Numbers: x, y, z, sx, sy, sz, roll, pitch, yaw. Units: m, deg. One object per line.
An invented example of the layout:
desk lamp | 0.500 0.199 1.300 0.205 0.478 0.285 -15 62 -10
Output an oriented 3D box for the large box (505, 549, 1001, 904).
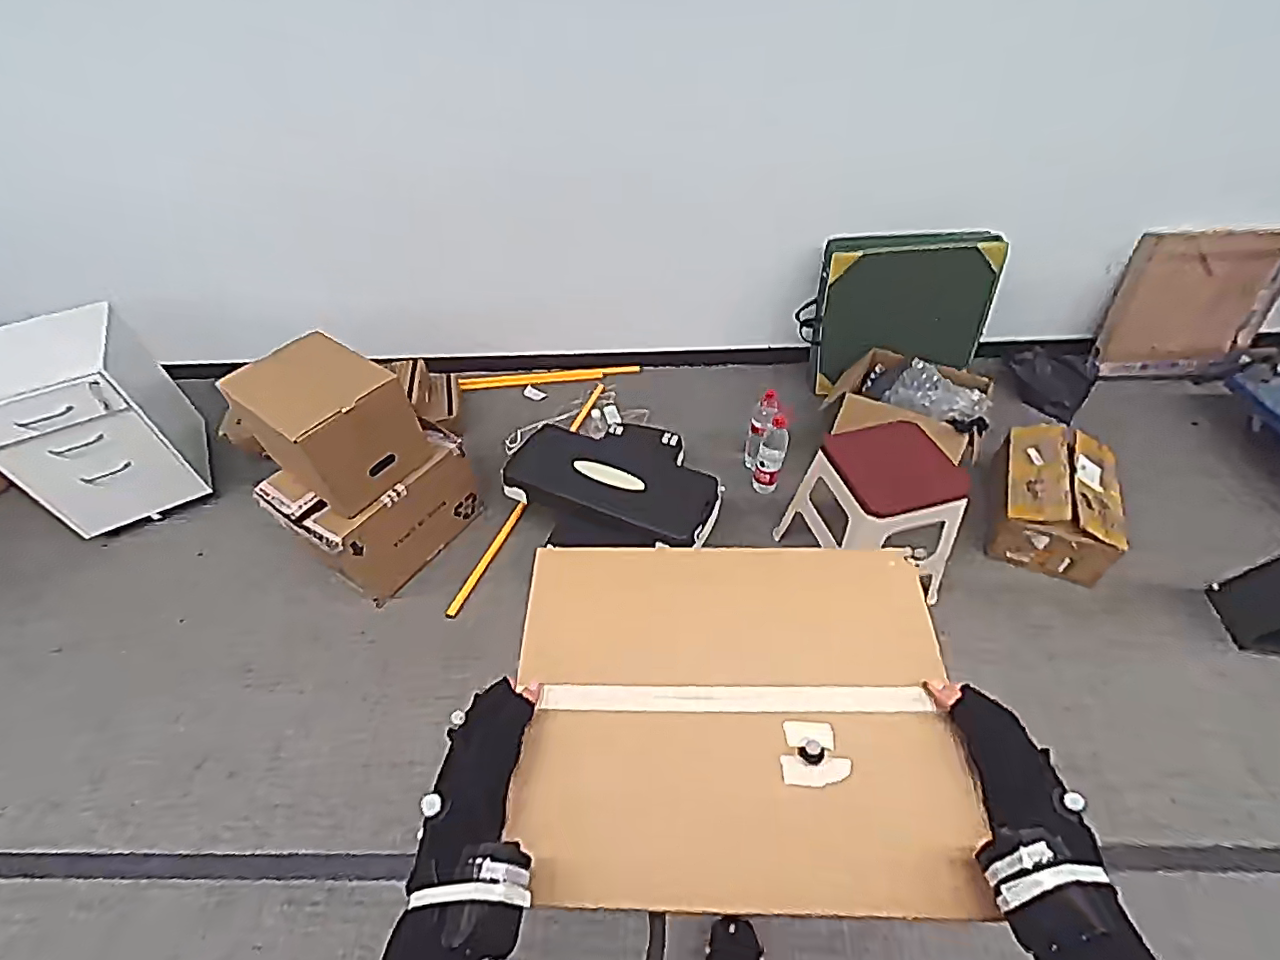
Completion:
large box | 0.091 0.290 0.633 0.408 0.320 0.320 0 56 2
